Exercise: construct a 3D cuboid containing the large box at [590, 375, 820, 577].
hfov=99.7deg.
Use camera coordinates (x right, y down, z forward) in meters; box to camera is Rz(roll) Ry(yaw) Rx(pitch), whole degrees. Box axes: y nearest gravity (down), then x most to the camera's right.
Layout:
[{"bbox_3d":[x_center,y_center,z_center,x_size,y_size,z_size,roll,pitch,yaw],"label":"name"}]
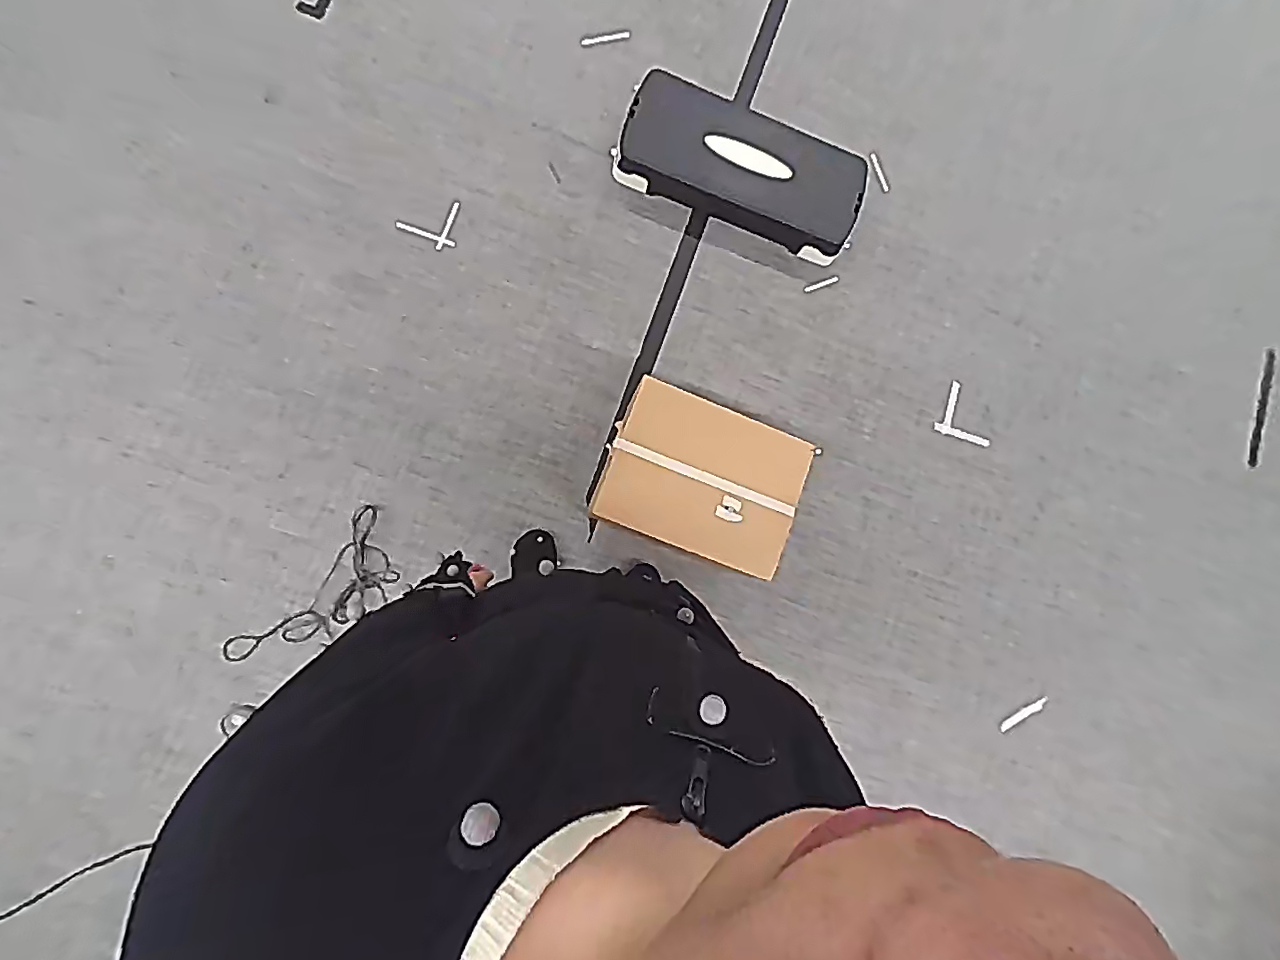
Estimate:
[{"bbox_3d":[0.126,0.005,1.254,0.408,0.320,0.320,21,83,-6],"label":"large box"}]
